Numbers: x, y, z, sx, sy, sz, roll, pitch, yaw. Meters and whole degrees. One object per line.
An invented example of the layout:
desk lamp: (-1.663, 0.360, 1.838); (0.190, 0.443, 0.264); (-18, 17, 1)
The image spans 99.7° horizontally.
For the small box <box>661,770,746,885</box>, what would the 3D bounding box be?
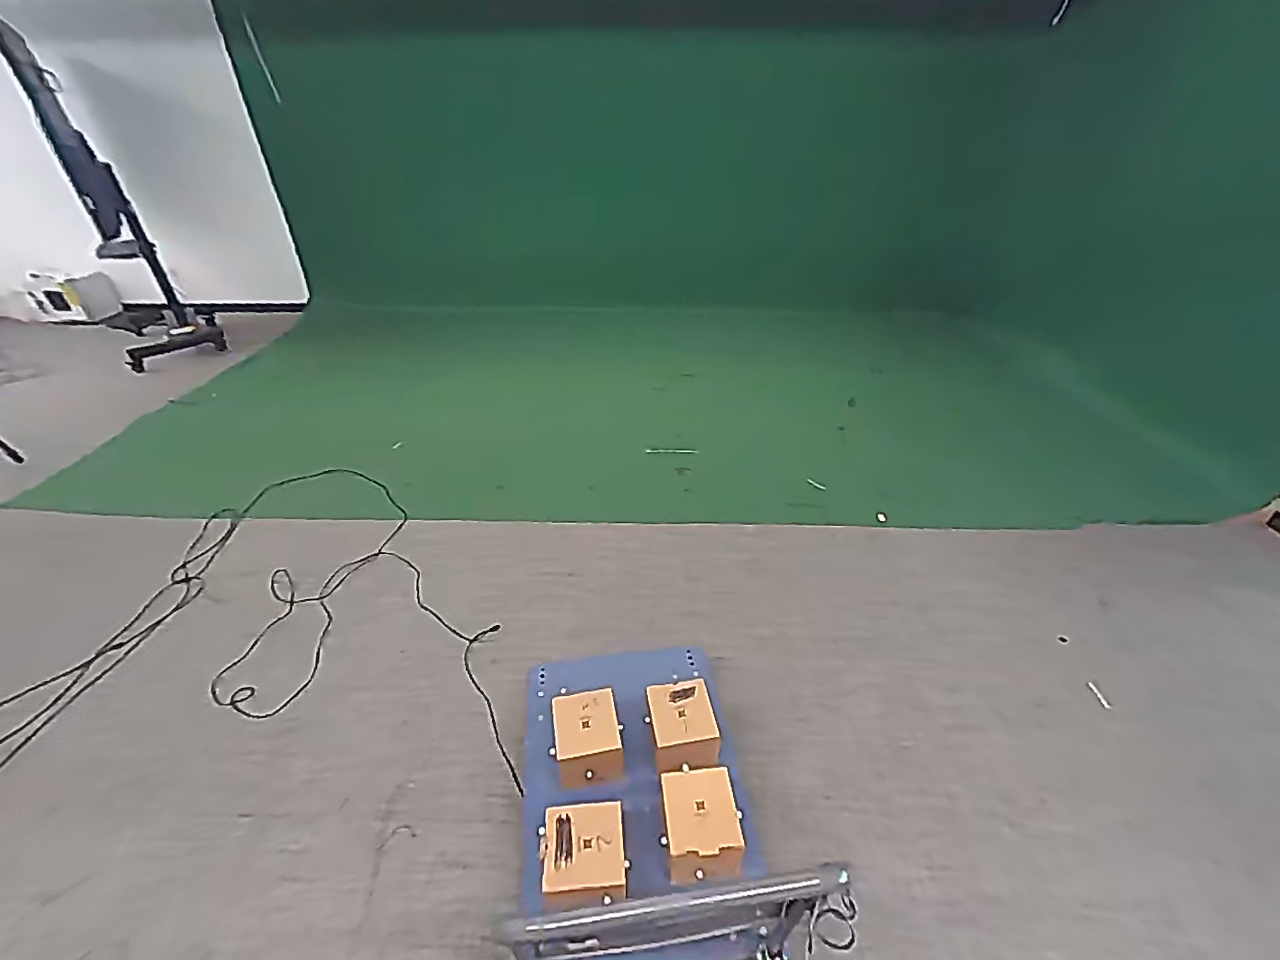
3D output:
small box: (0.142, 0.825, 1.287); (0.168, 0.176, 0.179); (-4, 36, -5)

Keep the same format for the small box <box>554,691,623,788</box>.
small box: (-0.140, 0.703, 1.456); (0.168, 0.176, 0.179); (-6, 36, -9)

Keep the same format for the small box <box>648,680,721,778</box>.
small box: (0.115, 0.683, 1.481); (0.168, 0.176, 0.179); (-7, 37, -7)
